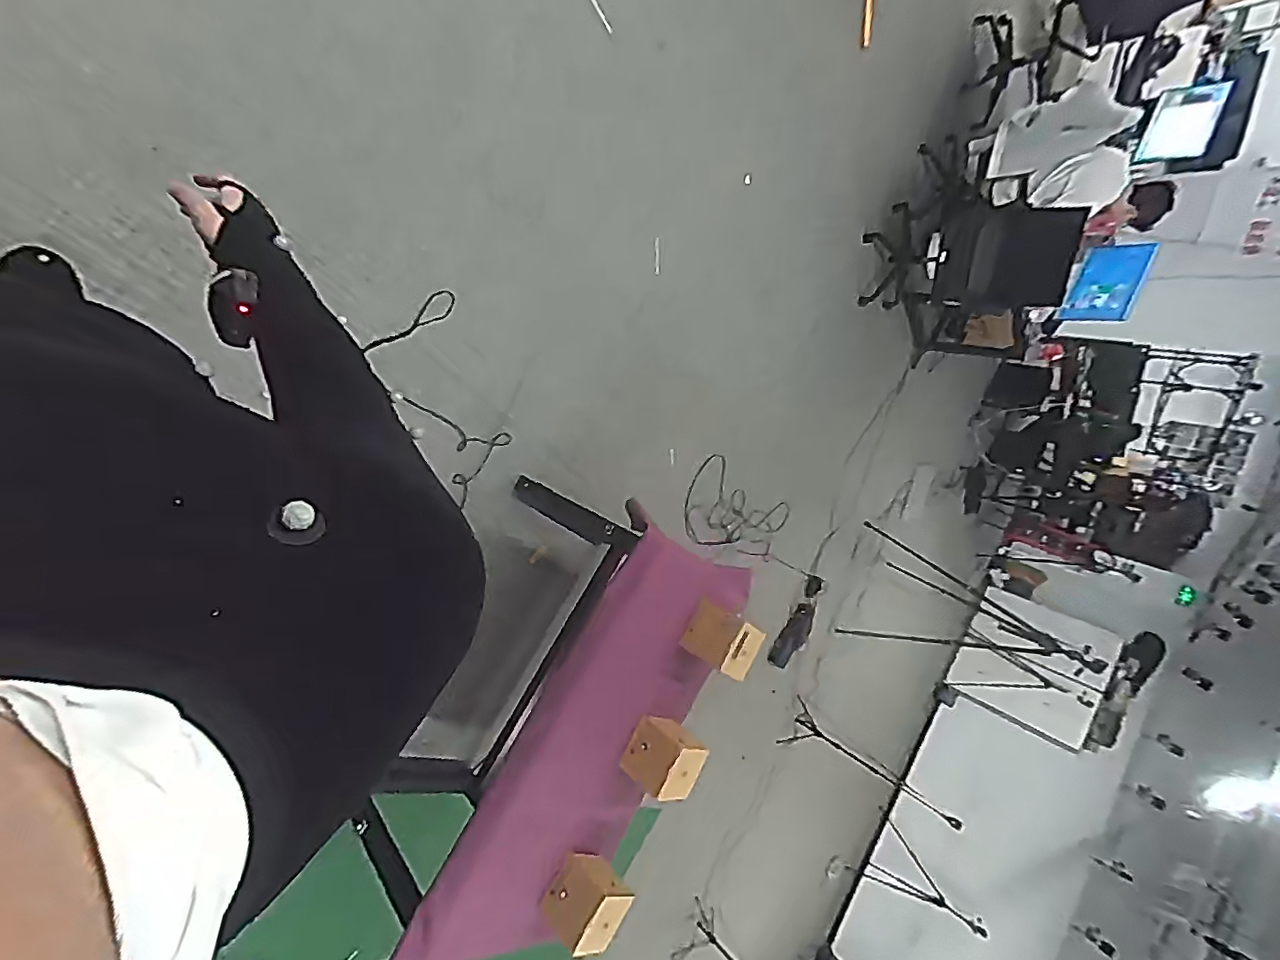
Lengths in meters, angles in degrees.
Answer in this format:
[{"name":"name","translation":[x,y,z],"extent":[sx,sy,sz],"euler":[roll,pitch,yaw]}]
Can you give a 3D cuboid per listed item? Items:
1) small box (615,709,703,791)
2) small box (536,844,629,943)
[{"name":"small box","translation":[0.059,0.835,1.681],"extent":[0.179,0.176,0.168],"euler":[34,82,-47]},{"name":"small box","translation":[-0.170,1.217,1.603],"extent":[0.168,0.176,0.179],"euler":[-56,137,-14]}]
